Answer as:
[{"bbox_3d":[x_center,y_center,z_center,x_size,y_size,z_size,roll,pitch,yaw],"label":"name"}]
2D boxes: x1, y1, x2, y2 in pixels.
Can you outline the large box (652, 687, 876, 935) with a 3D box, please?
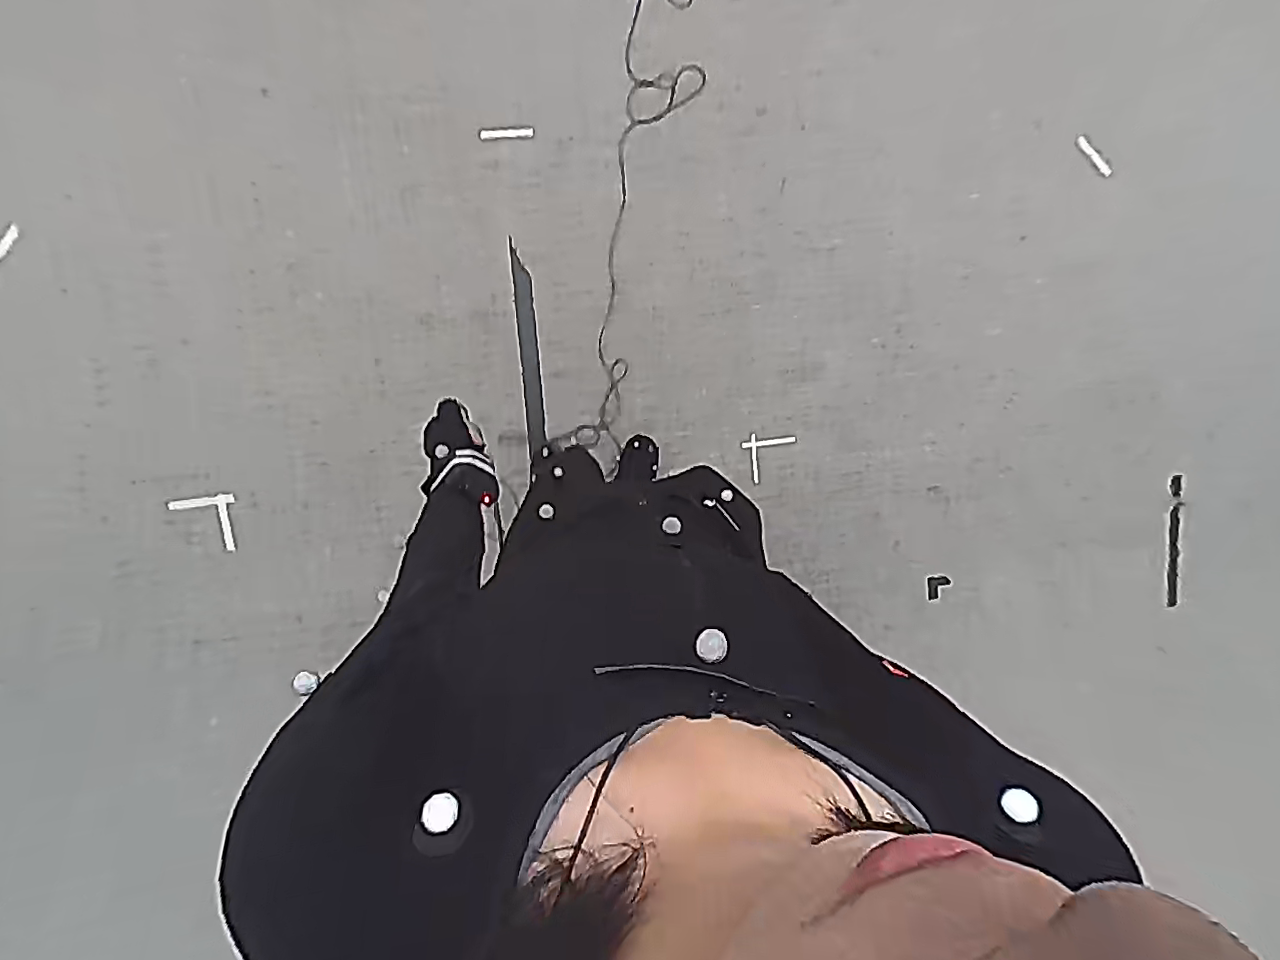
[{"bbox_3d":[0.264,0.741,1.265,0.408,0.320,0.320,-15,94,-1],"label":"large box"}]
